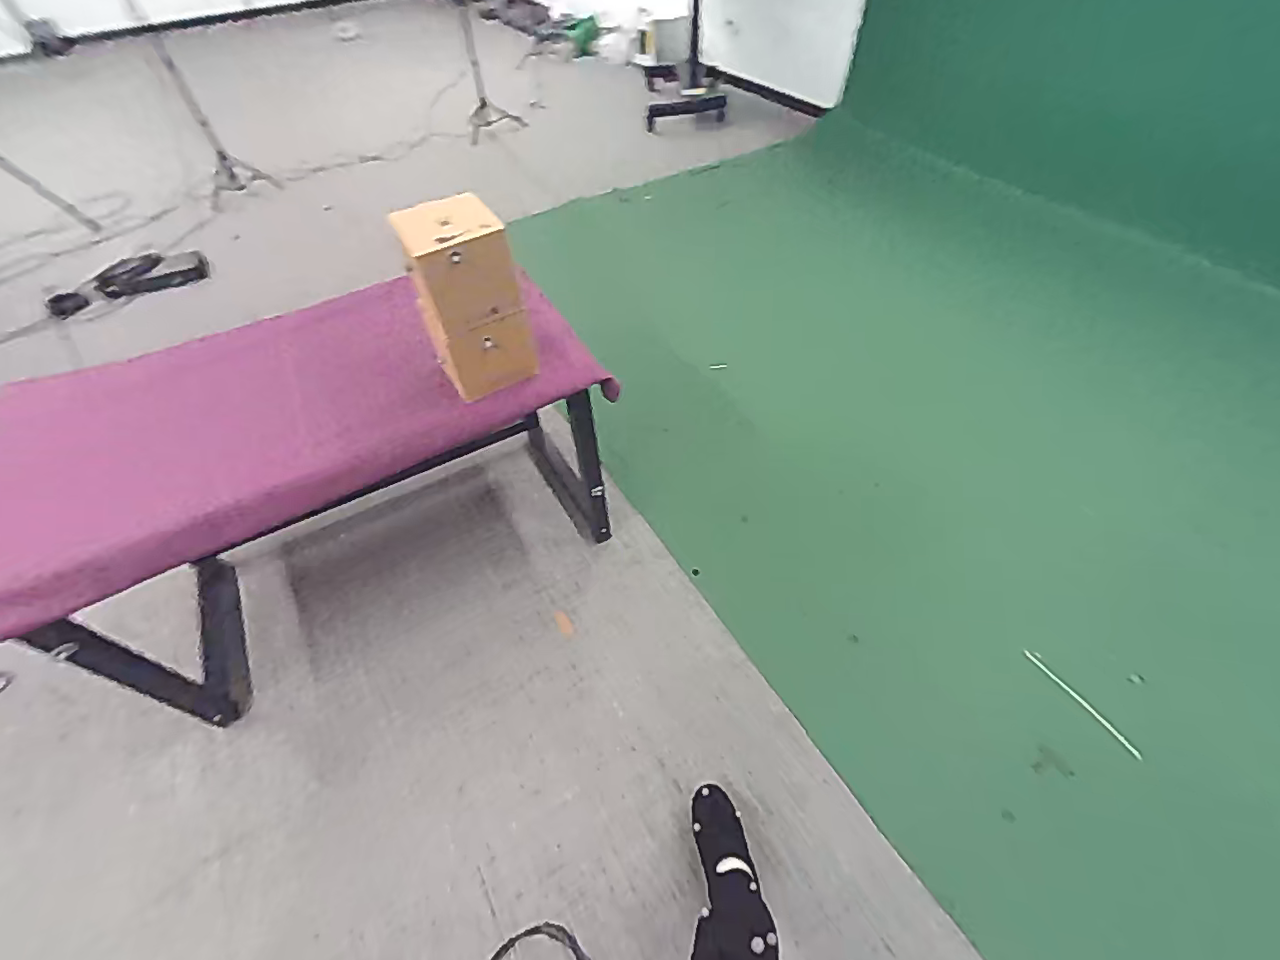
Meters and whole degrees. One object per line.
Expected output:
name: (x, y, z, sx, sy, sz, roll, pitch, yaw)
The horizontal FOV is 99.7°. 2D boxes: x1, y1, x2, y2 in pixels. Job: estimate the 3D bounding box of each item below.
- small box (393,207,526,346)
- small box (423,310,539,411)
small box: (-0.340, -0.388, 1.035, 0.168, 0.176, 0.179, -28, 54, -16)
small box: (-0.331, -0.282, 1.160, 0.179, 0.176, 0.168, -28, 55, -17)
